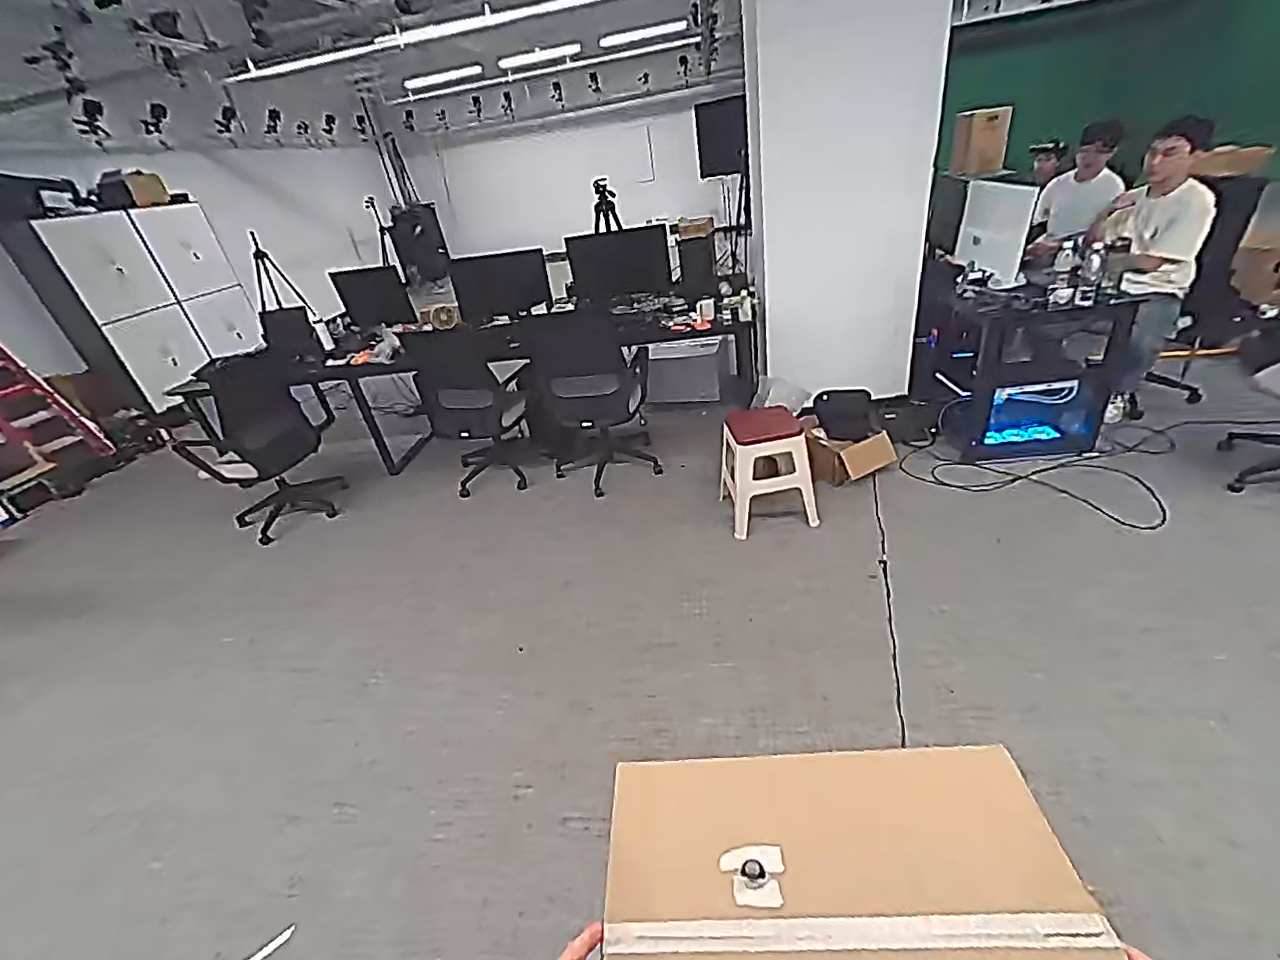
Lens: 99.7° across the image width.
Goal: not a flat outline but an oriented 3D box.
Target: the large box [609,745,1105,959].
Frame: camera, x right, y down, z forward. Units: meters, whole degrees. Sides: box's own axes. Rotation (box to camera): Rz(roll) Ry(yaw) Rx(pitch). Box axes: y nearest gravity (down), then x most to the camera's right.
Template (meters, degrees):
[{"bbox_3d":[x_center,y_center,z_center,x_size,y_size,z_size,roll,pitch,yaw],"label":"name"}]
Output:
[{"bbox_3d":[0.194,0.509,0.540,0.408,0.320,0.320,-7,32,6],"label":"large box"}]
